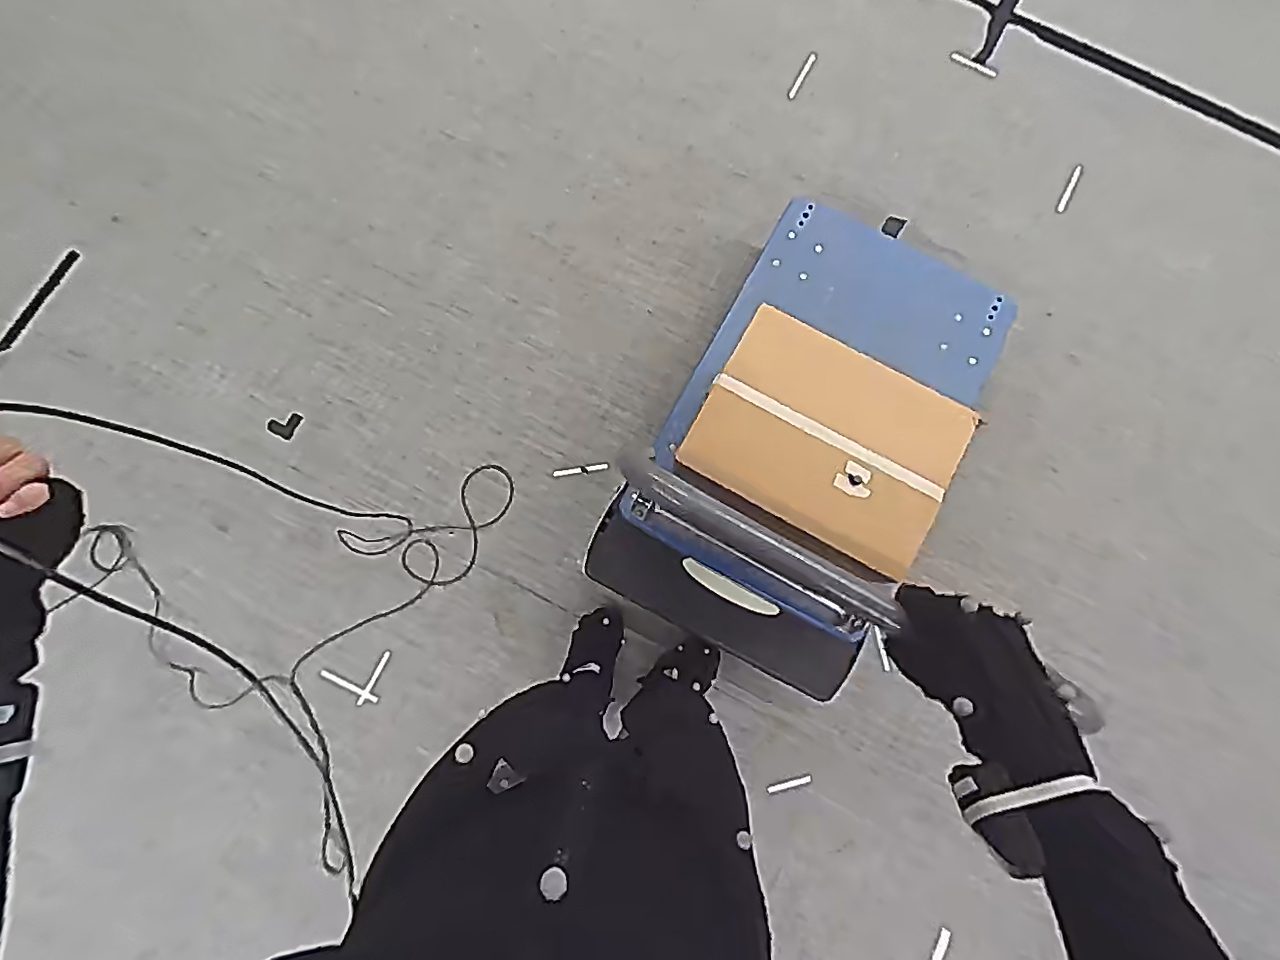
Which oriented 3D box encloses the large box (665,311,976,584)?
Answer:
[{"bbox_3d":[0.298,-0.037,1.013,0.408,0.320,0.320,29,82,4],"label":"large box"}]
